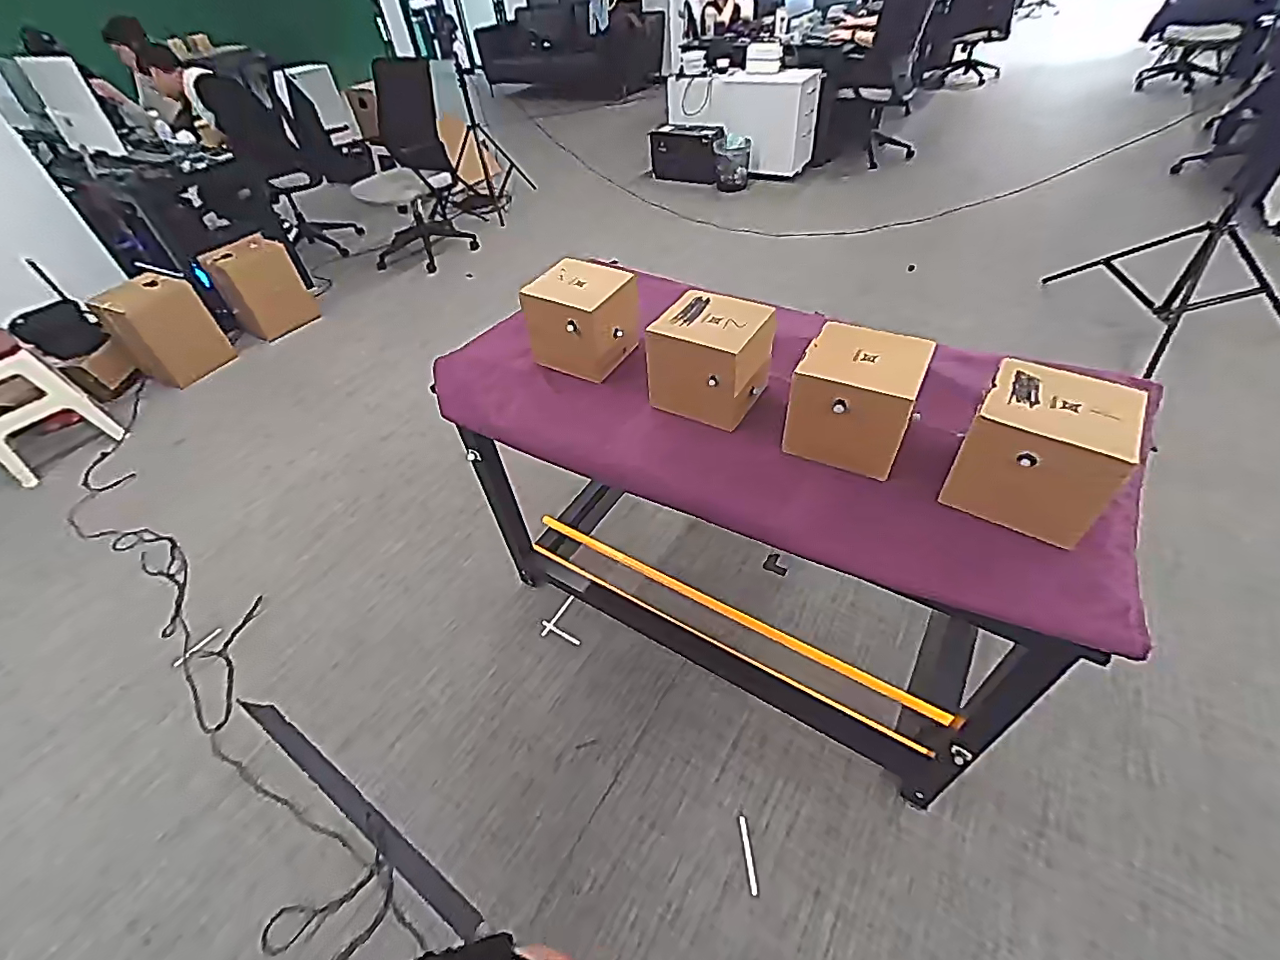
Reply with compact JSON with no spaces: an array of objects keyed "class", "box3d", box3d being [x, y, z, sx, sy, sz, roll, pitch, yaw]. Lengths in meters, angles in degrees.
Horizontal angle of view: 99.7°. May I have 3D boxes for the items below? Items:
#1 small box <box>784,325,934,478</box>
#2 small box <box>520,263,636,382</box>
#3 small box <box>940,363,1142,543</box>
[{"class":"small box","box3d":[0.354,-0.127,0.893,0.179,0.176,0.168,20,51,25]},{"class":"small box","box3d":[-0.120,-0.328,1.138,0.179,0.176,0.168,21,51,22]},{"class":"small box","box3d":[0.562,-0.038,0.775,0.179,0.176,0.168,25,52,27]}]
